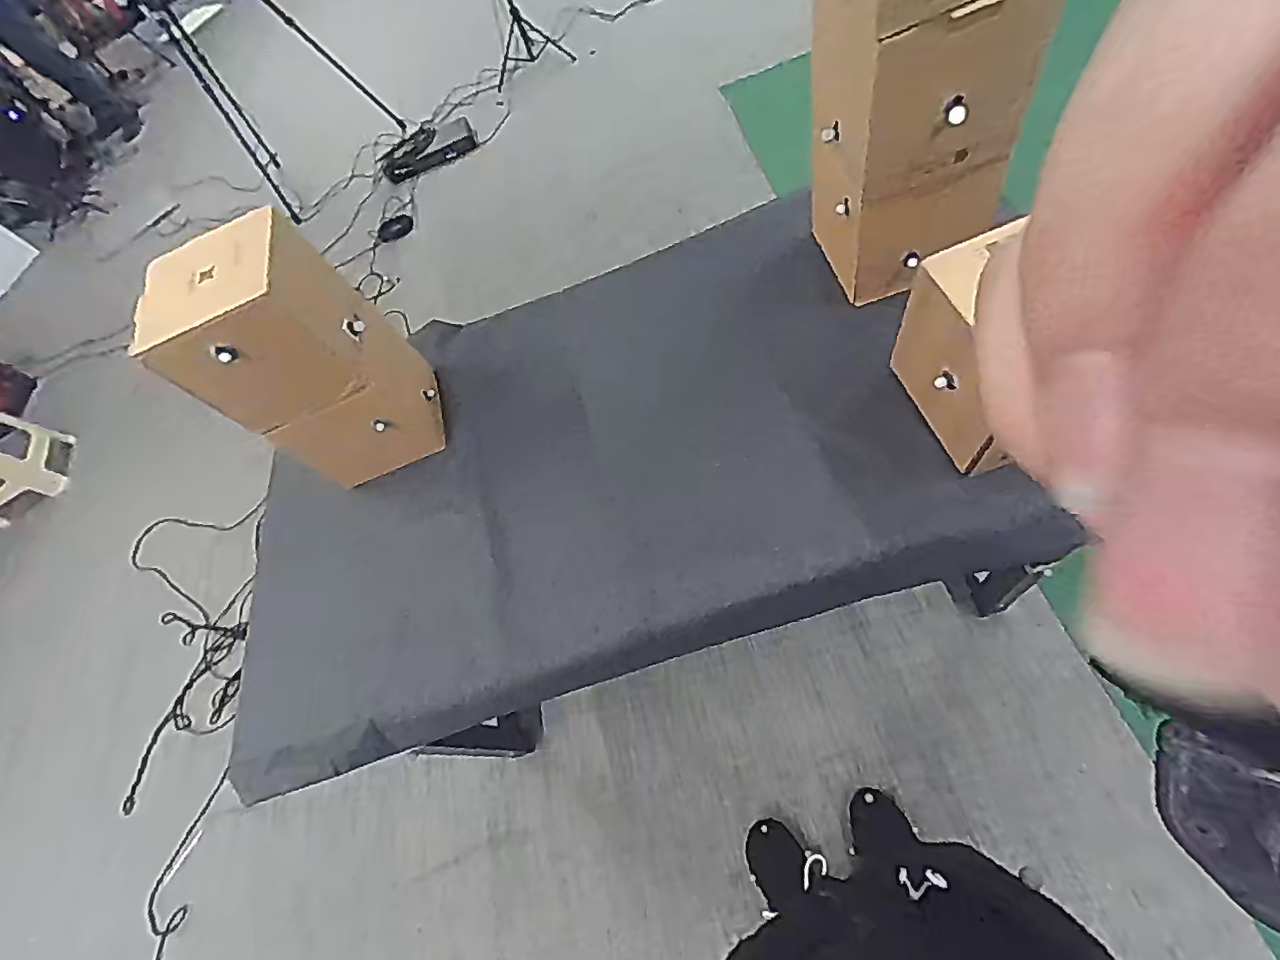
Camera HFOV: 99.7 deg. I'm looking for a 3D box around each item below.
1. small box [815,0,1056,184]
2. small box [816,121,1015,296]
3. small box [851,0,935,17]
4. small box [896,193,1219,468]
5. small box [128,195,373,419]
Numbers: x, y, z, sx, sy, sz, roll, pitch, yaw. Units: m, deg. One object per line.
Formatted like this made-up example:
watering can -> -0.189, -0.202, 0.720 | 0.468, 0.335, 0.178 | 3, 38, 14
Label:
small box -> 0.291, -0.444, 0.563 | 0.168, 0.176, 0.179 | -17, 62, 9
small box -> 0.337, -0.379, 0.707 | 0.168, 0.176, 0.179 | -17, 61, 9
small box -> 0.241, -0.512, 0.422 | 0.168, 0.176, 0.179 | -18, 61, 8
small box -> 0.387, -0.143, 0.549 | 0.168, 0.179, 0.176 | -21, 63, 5
small box -> -0.466, -0.203, 0.673 | 0.179, 0.176, 0.168 | -22, 62, 4
